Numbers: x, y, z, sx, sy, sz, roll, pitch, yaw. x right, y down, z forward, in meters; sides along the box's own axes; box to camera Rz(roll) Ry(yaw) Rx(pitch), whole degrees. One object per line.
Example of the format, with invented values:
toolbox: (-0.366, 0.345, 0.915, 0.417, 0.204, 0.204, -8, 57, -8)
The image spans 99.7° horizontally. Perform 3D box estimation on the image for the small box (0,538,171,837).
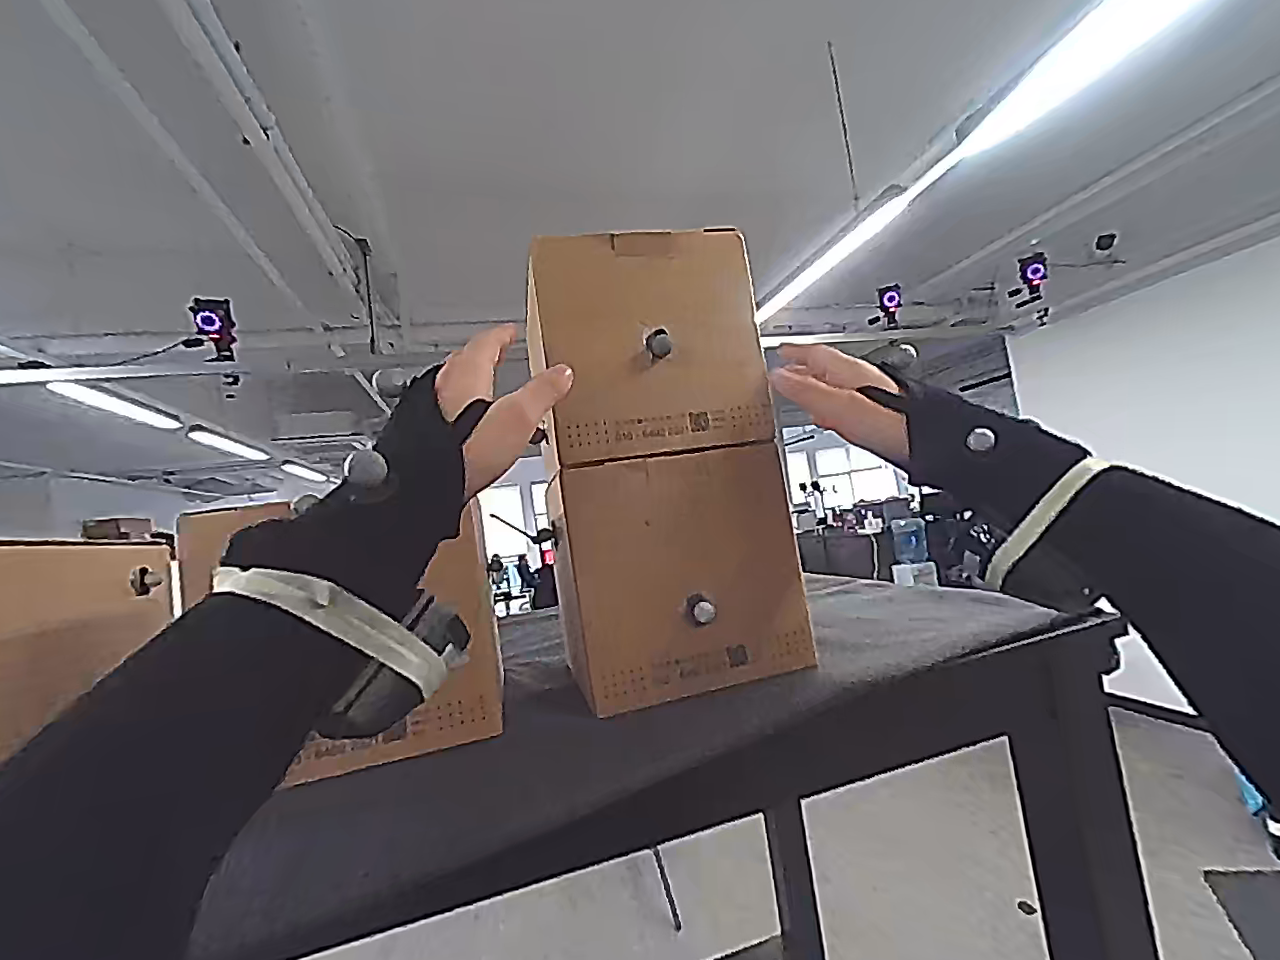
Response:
small box: (-0.448, 0.136, 0.351, 0.168, 0.176, 0.179, -7, -5, -13)

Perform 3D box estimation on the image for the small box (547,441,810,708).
small box: (0.018, 0.073, 0.457, 0.168, 0.176, 0.179, -9, -4, -14)

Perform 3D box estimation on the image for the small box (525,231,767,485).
small box: (-0.006, -0.089, 0.471, 0.168, 0.176, 0.179, -8, -4, -13)
